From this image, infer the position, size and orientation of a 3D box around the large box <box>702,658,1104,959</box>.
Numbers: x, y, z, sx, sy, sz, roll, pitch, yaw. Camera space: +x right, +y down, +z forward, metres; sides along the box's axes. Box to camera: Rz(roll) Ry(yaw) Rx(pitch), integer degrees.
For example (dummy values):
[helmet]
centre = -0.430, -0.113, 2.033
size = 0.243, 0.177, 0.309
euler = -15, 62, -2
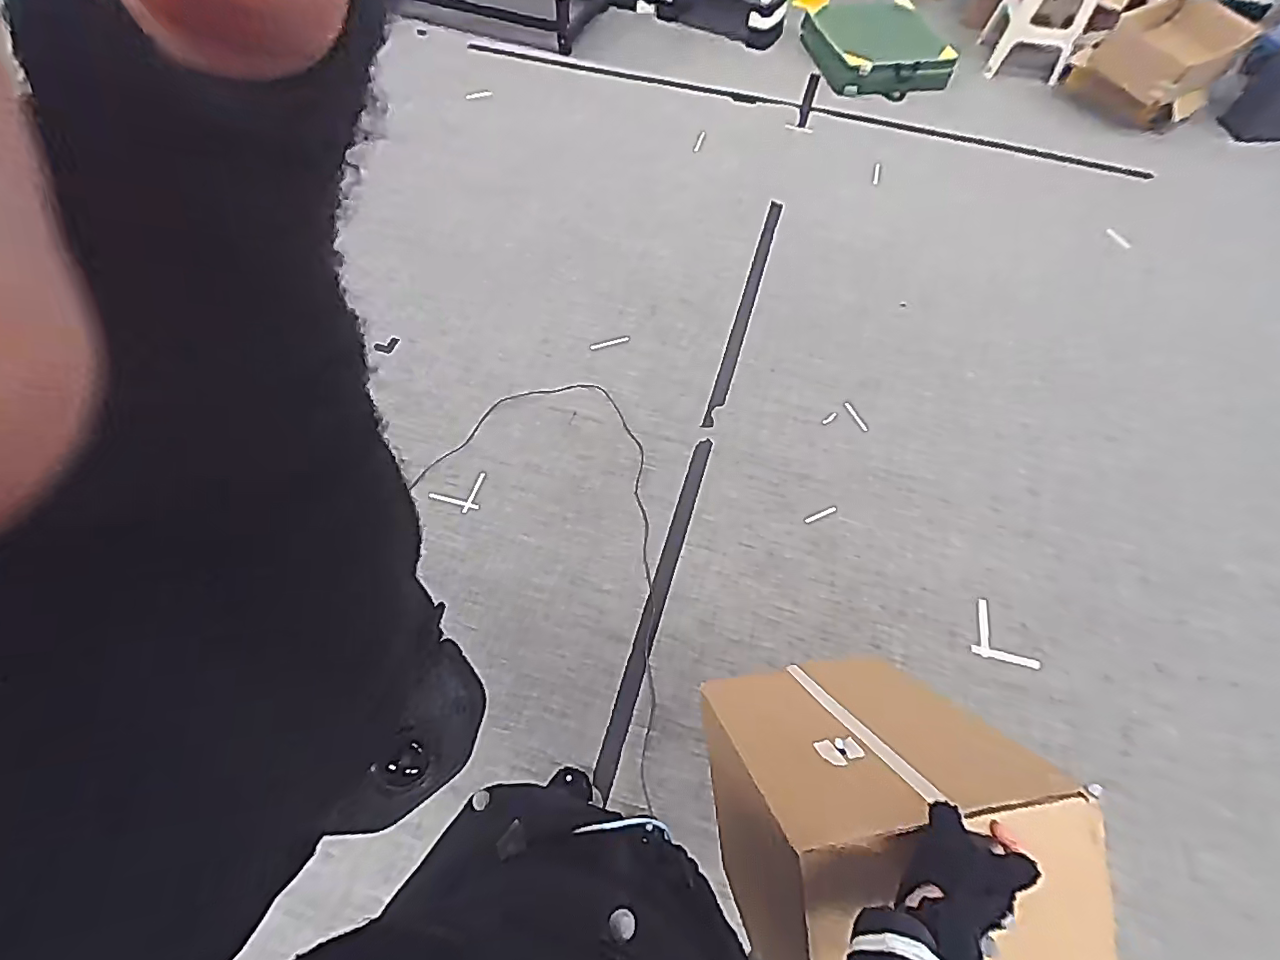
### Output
[large box]
centre = 0.293, 0.476, 0.719
size = 0.320, 0.408, 0.320
euler = -8, 93, -7
